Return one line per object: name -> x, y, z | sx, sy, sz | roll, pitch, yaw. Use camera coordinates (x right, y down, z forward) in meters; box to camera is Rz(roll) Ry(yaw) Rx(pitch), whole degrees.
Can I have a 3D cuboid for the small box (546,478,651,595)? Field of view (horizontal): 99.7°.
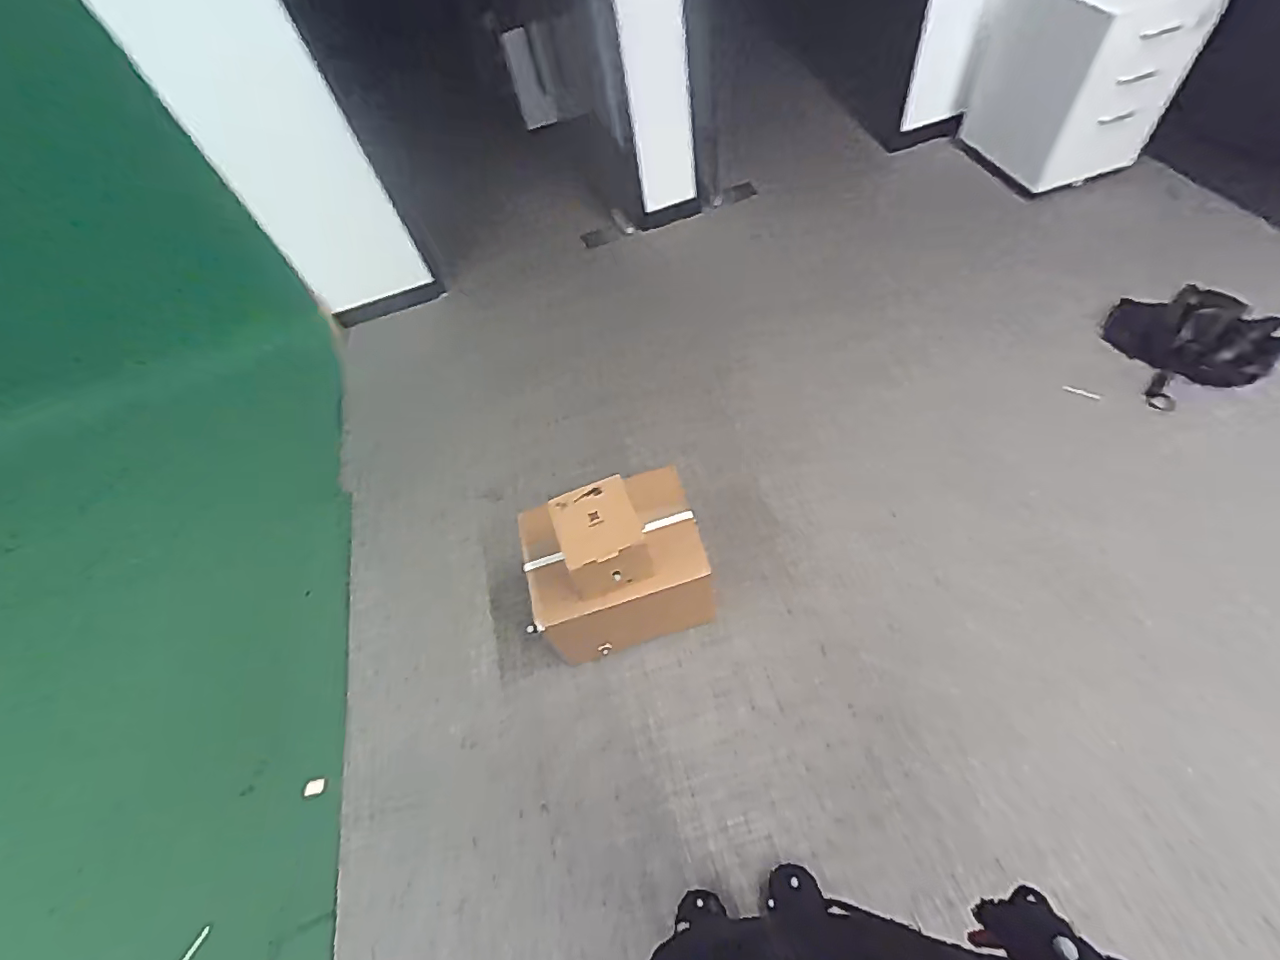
small box -> -0.085, 0.130, 1.166 | 0.168, 0.176, 0.179 | -21, 57, -3
